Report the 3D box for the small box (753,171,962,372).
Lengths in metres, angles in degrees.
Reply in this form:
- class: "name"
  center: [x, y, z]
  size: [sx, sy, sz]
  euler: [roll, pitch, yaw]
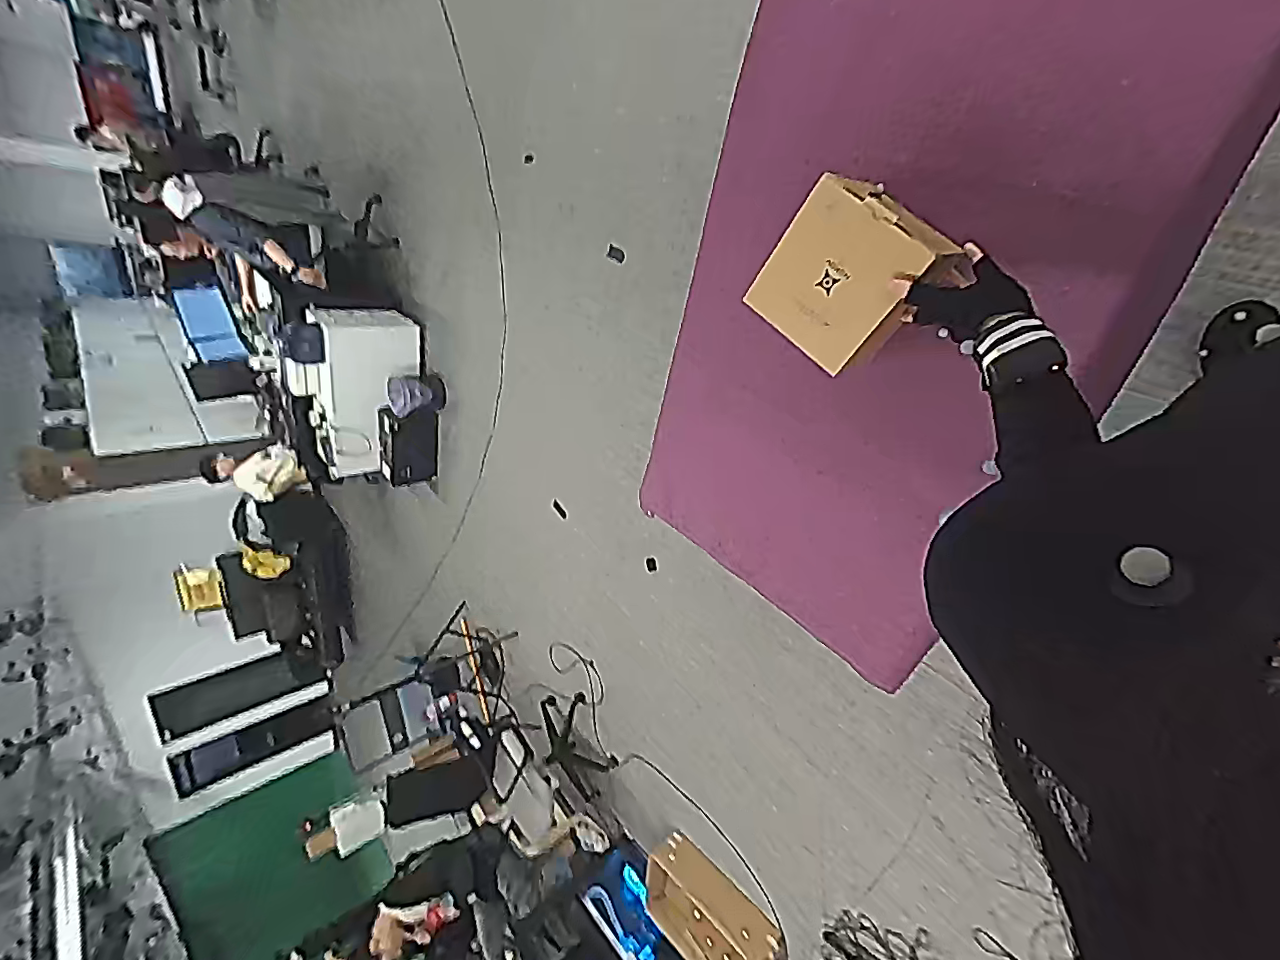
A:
- class: "small box"
  center: [0.290, -0.273, 0.713]
  size: [0.168, 0.176, 0.179]
  euler: [48, 134, 18]
